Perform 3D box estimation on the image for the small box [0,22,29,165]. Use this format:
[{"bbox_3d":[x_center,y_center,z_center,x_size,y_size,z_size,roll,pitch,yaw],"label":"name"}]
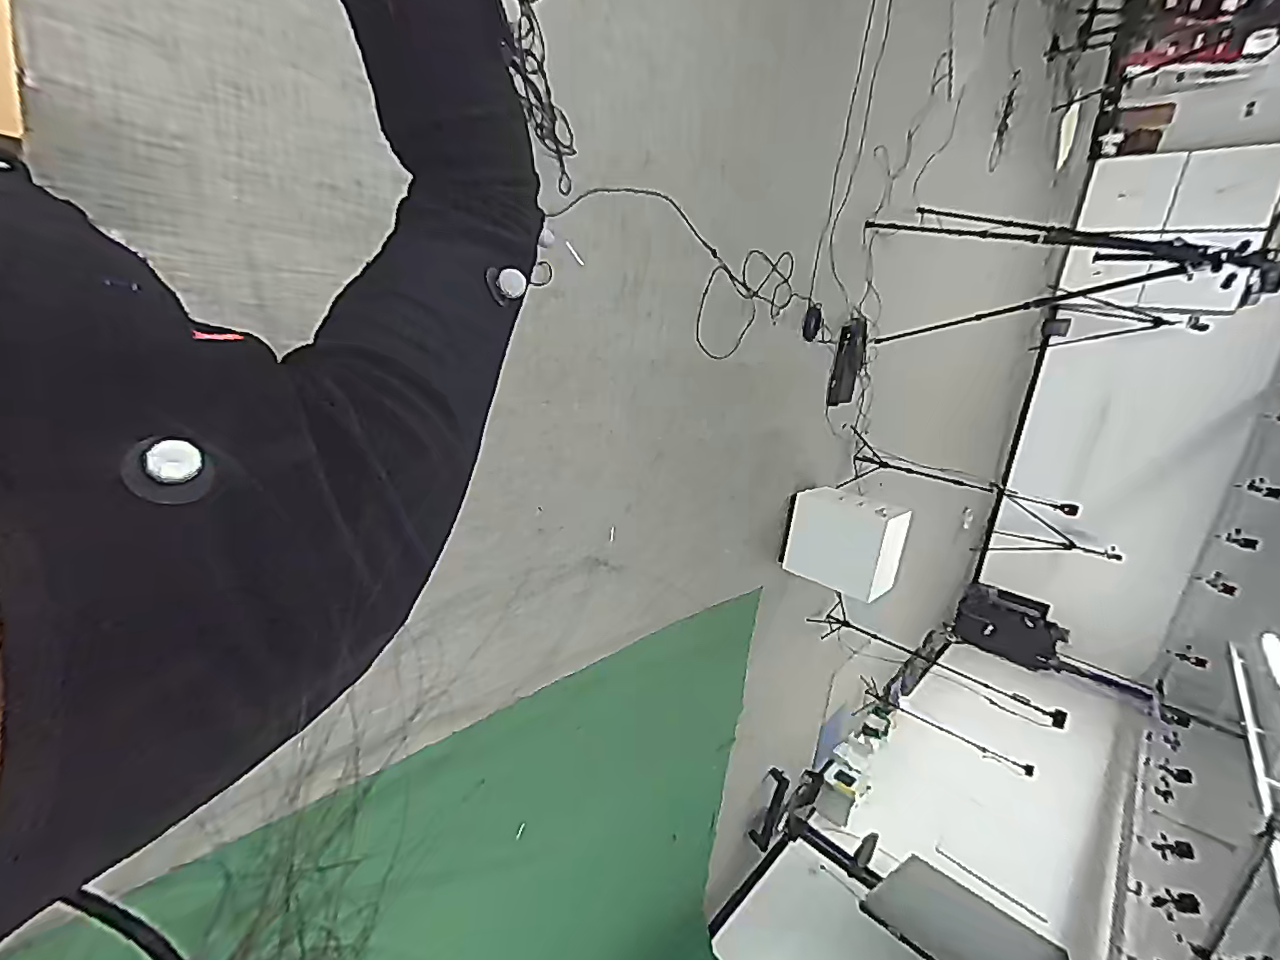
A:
[{"bbox_3d":[-1.043,-0.600,0.808,0.168,0.176,0.179,-3,108,-46],"label":"small box"}]
